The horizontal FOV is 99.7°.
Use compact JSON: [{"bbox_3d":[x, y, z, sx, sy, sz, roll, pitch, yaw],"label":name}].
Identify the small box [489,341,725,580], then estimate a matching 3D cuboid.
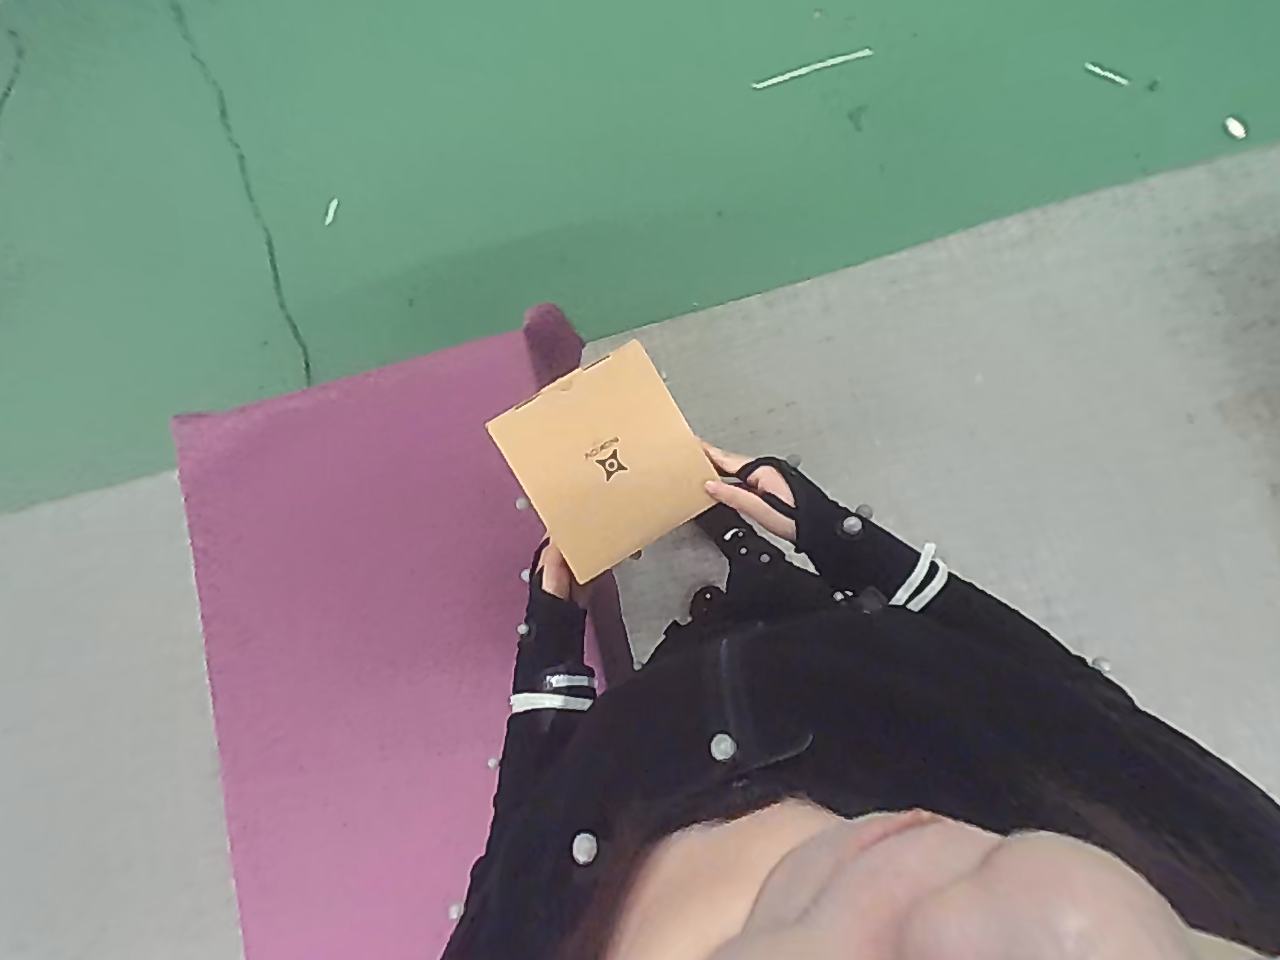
[{"bbox_3d":[-0.033,-0.018,0.583,0.168,0.176,0.179,-30,90,-4],"label":"small box"}]
